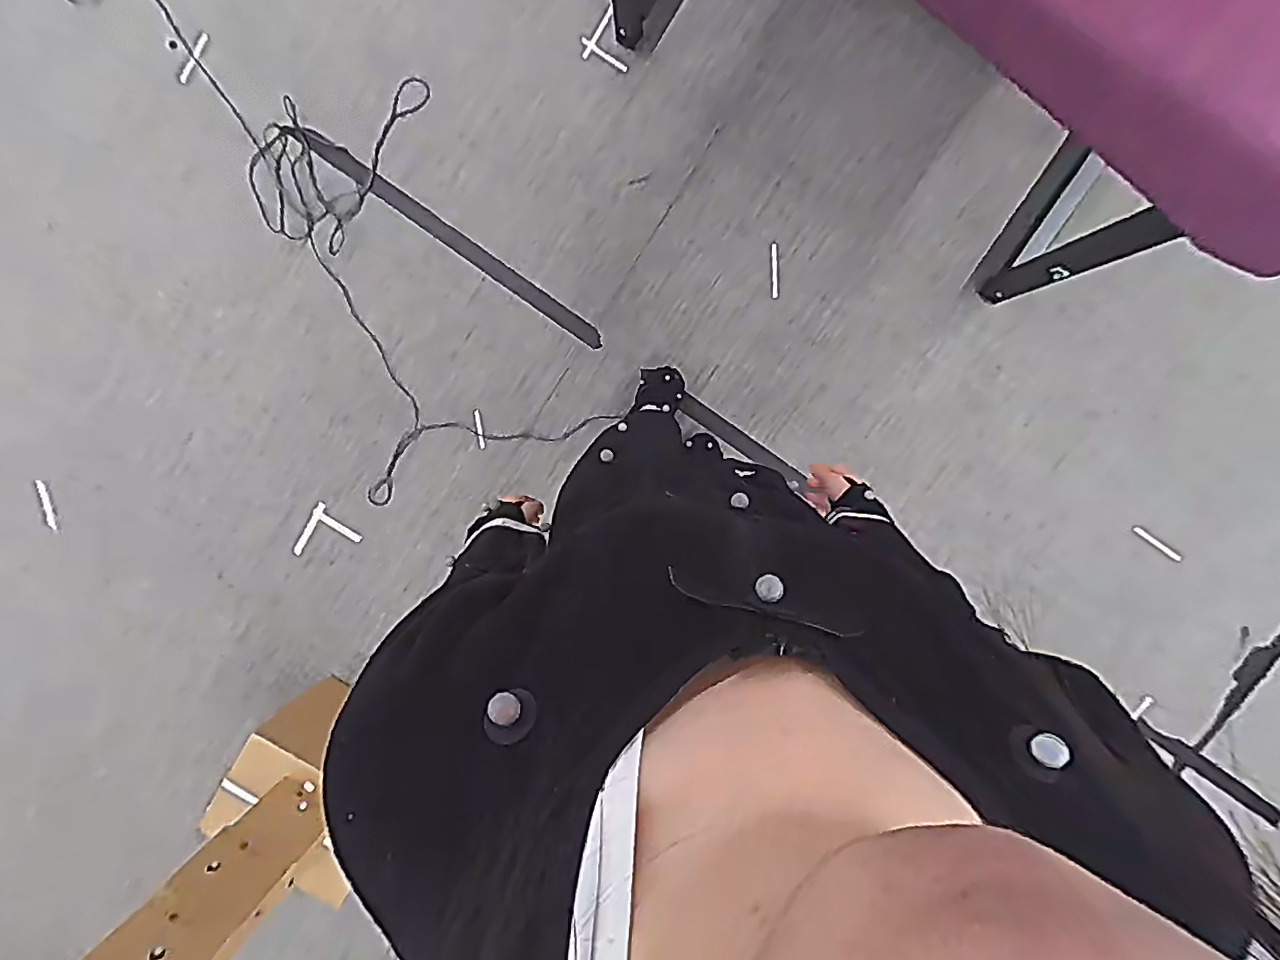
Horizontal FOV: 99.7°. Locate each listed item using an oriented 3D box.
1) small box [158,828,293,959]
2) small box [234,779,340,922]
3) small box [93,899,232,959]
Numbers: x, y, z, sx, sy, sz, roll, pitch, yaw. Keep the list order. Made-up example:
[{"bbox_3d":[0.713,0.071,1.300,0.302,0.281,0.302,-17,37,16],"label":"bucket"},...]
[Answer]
[{"bbox_3d":[-0.845,0.854,1.085,0.168,0.176,0.179,29,97,0],"label":"small box"},{"bbox_3d":[-0.837,0.843,1.247,0.168,0.176,0.179,31,96,-2],"label":"small box"},{"bbox_3d":[-0.850,0.878,0.922,0.168,0.176,0.179,26,96,1],"label":"small box"}]
